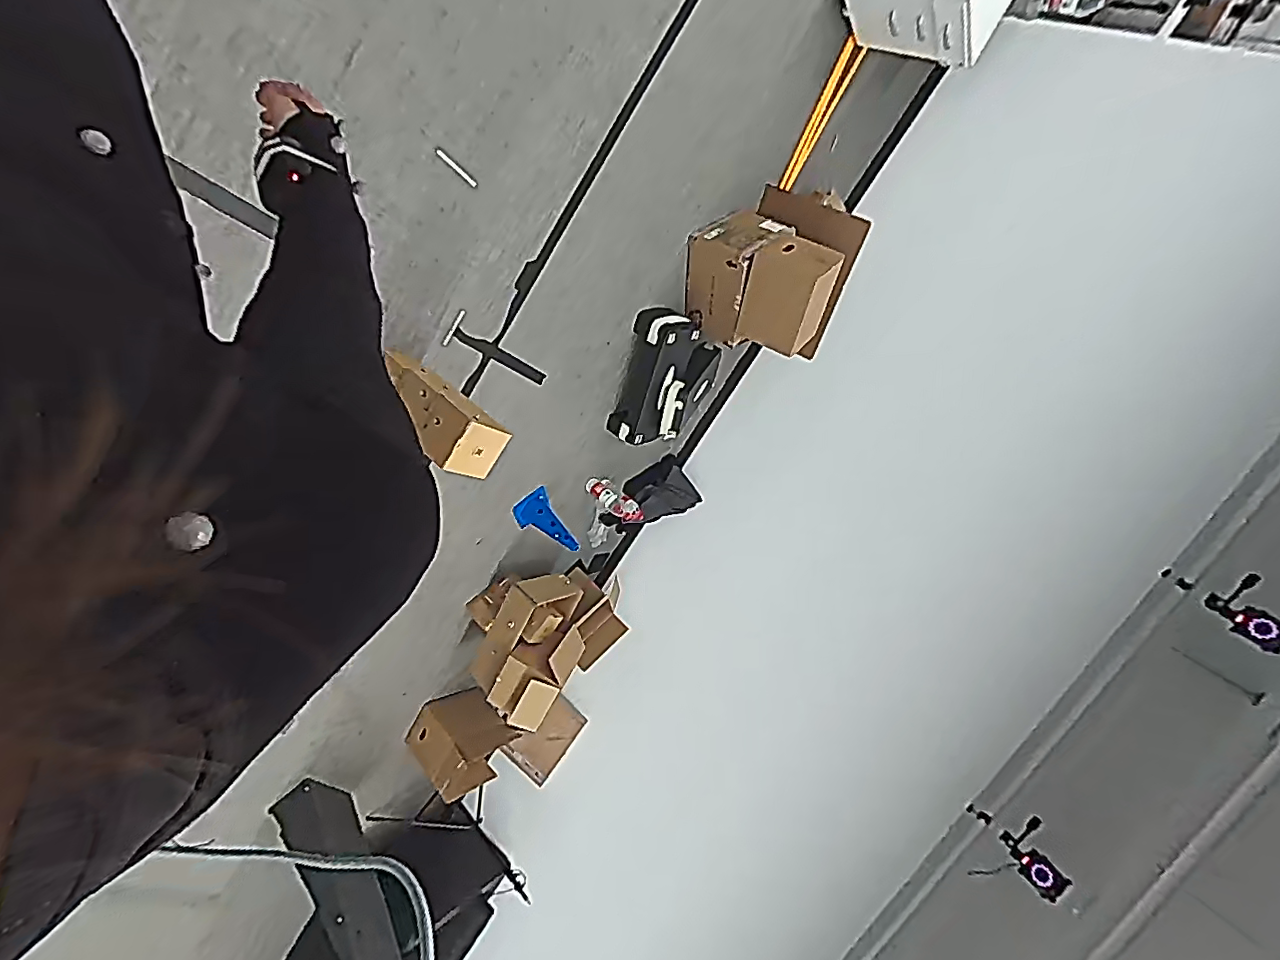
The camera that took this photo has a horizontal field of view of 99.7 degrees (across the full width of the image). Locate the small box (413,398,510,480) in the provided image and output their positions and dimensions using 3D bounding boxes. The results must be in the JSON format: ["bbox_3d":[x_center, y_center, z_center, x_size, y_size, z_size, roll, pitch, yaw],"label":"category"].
[{"bbox_3d":[-0.532,-0.122,1.610,0.168,0.176,0.179,-56,153,8],"label":"small box"}]

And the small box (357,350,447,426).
[{"bbox_3d":[-0.771,-0.297,1.751,0.168,0.176,0.179,-58,152,10],"label":"small box"}]
